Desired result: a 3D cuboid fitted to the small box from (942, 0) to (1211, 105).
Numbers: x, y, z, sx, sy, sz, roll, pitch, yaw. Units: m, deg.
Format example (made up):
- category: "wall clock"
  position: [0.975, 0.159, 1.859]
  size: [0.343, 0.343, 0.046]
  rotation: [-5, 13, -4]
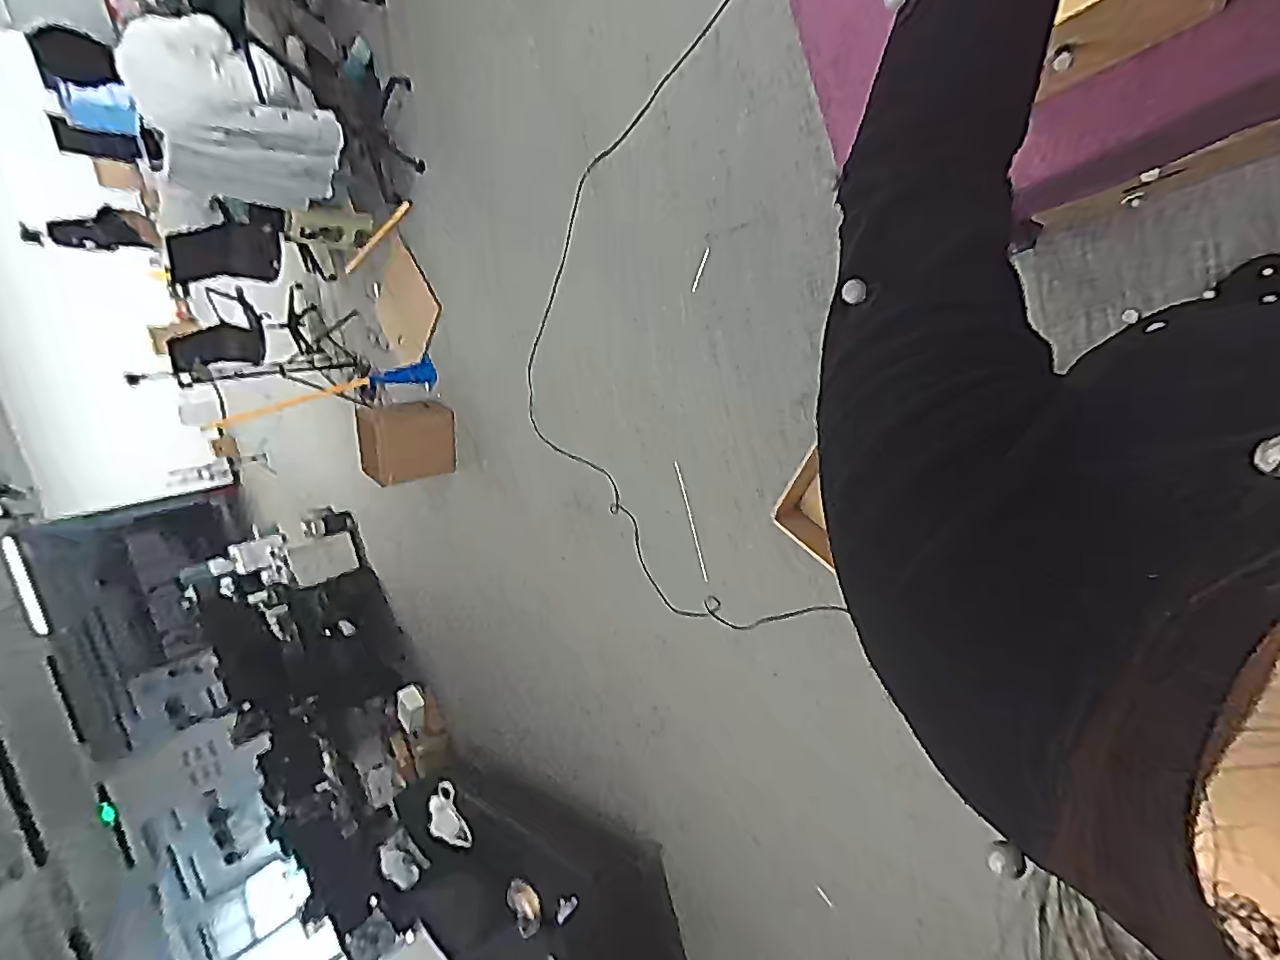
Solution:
- category: "small box"
  position: [0.386, -0.474, 0.479]
  size: [0.179, 0.176, 0.168]
  rotation: [-7, 101, 47]
